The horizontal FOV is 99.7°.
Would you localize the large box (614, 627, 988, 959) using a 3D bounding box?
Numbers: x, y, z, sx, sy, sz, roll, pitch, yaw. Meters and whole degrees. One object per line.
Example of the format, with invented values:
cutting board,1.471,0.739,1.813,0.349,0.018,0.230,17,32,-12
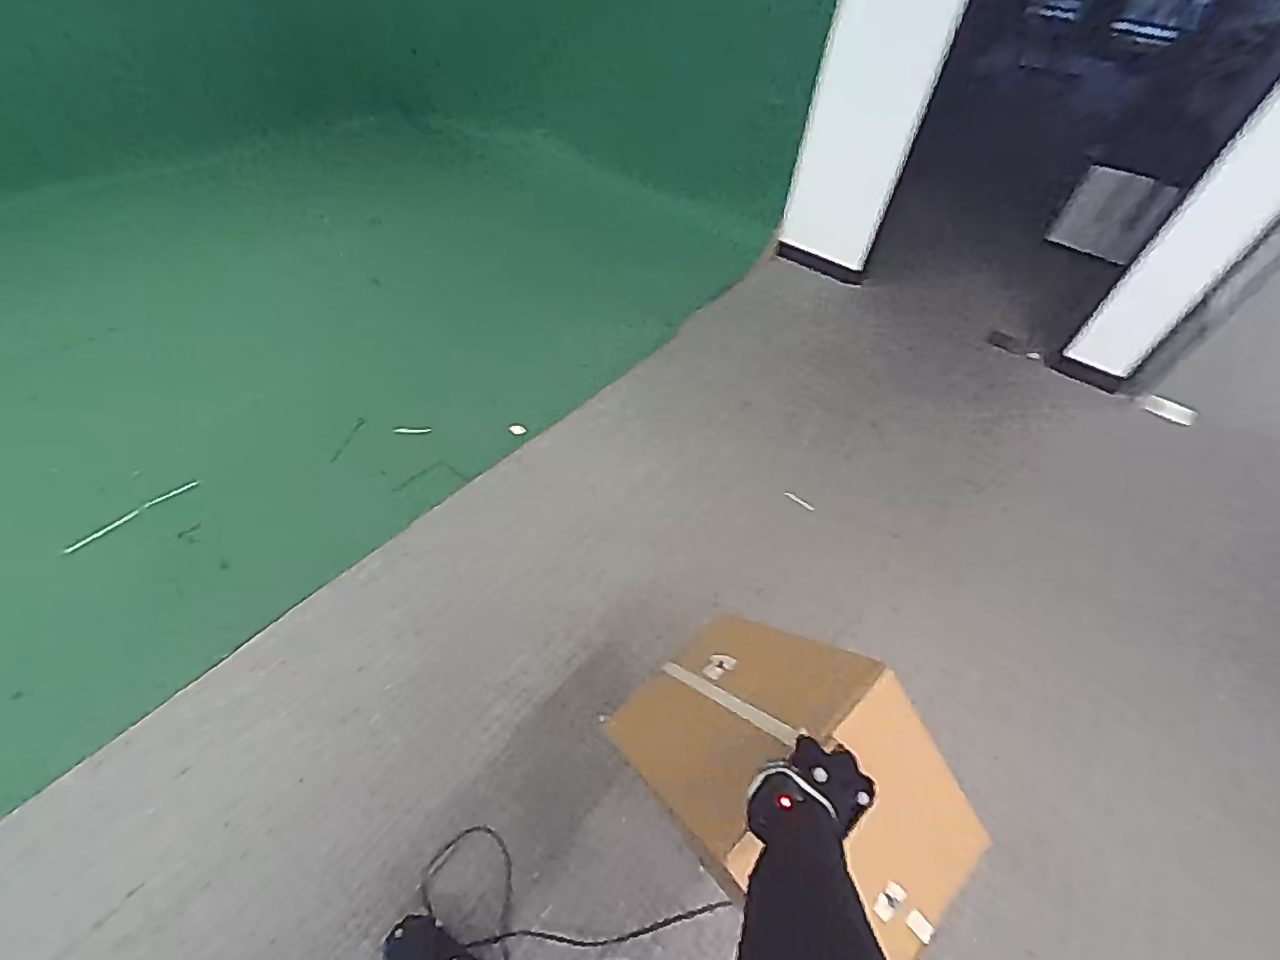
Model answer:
large box,0.223,0.479,0.852,0.320,0.408,0.320,-35,98,-21
